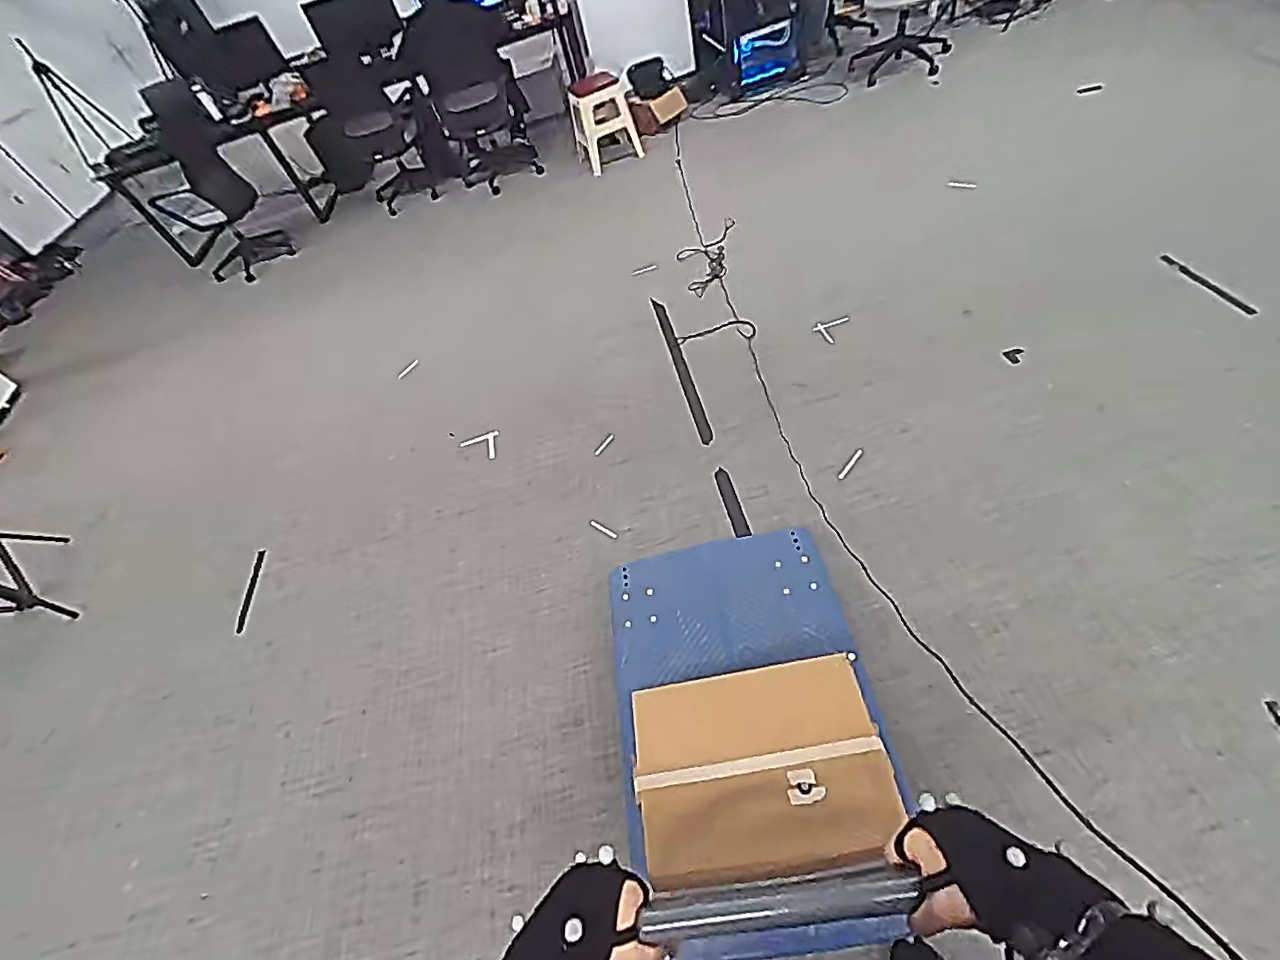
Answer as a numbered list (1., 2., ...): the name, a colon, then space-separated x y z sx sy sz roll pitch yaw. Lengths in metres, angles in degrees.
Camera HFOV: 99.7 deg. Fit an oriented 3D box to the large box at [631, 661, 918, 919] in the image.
1. large box: 0.222 0.576 0.994 0.408 0.320 0.320 -13 49 6
